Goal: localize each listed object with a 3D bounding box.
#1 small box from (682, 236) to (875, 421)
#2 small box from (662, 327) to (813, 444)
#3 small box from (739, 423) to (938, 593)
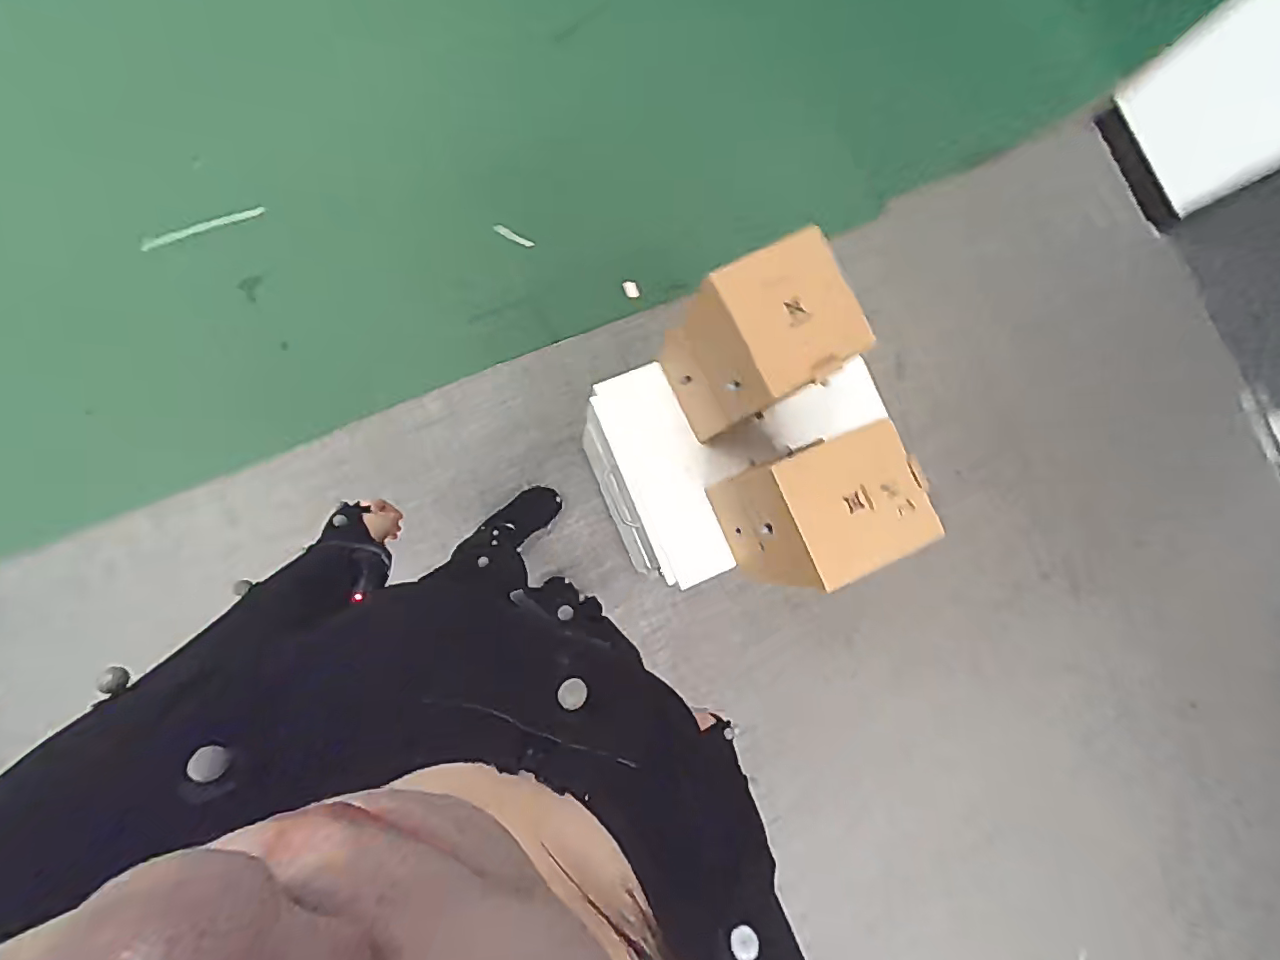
[{"bbox_3d":[0.182,-0.196,0.760,0.168,0.176,0.179,-28,89,-12],"label":"small box"},{"bbox_3d":[0.154,-0.179,0.920,0.168,0.176,0.179,-26,90,-10],"label":"small box"},{"bbox_3d":[0.253,0.042,0.742,0.179,0.176,0.168,-22,87,-11],"label":"small box"}]
